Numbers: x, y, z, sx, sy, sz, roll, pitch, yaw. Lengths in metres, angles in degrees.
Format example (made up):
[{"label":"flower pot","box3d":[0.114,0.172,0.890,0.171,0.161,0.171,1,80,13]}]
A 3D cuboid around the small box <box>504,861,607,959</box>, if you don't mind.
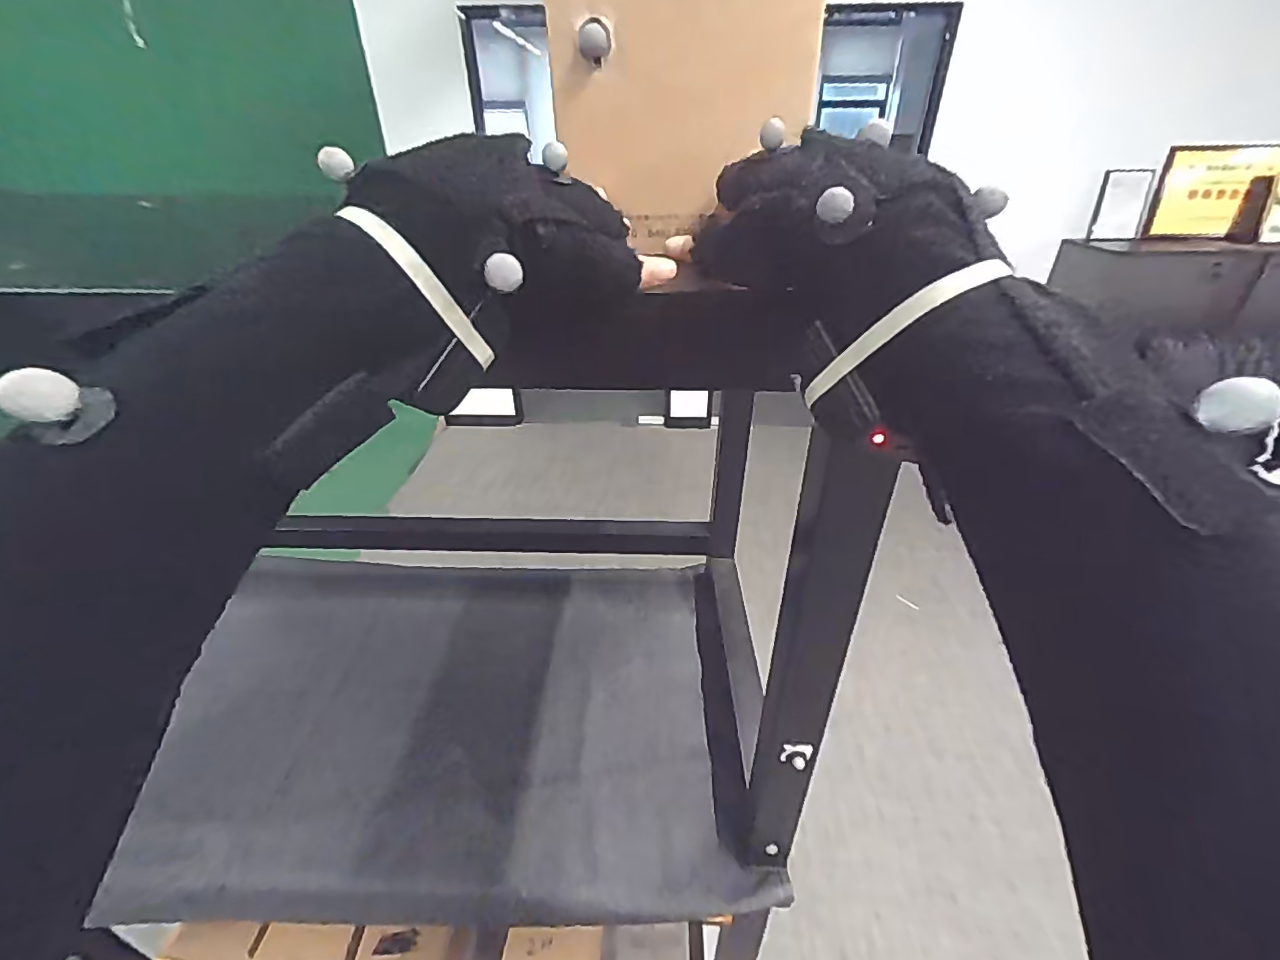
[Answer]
[{"label":"small box","box3d":[-0.161,0.915,1.095,0.168,0.176,0.179,3,34,6]}]
